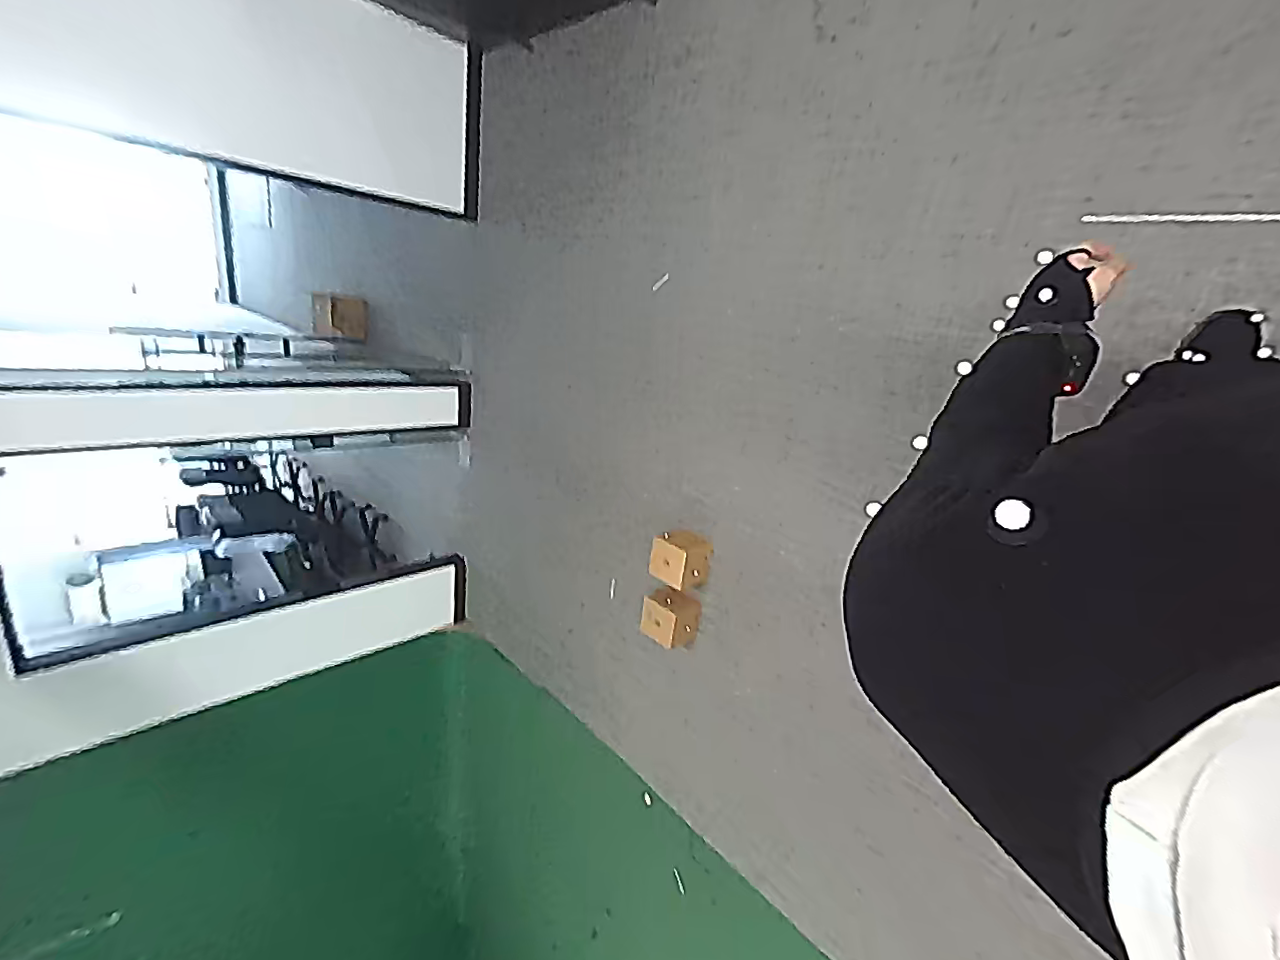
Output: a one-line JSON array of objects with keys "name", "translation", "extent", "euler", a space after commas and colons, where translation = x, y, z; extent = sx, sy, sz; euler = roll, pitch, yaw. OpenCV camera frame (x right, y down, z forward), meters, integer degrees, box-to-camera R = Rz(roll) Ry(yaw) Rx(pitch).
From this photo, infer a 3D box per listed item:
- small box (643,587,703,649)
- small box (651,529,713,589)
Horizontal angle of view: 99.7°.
[{"name": "small box", "translation": [0.137, 0.563, 2.237], "extent": [0.179, 0.176, 0.168], "euler": [23, 113, 41]}, {"name": "small box", "translation": [0.170, 0.309, 2.160], "extent": [0.179, 0.176, 0.168], "euler": [23, 114, 41]}]
